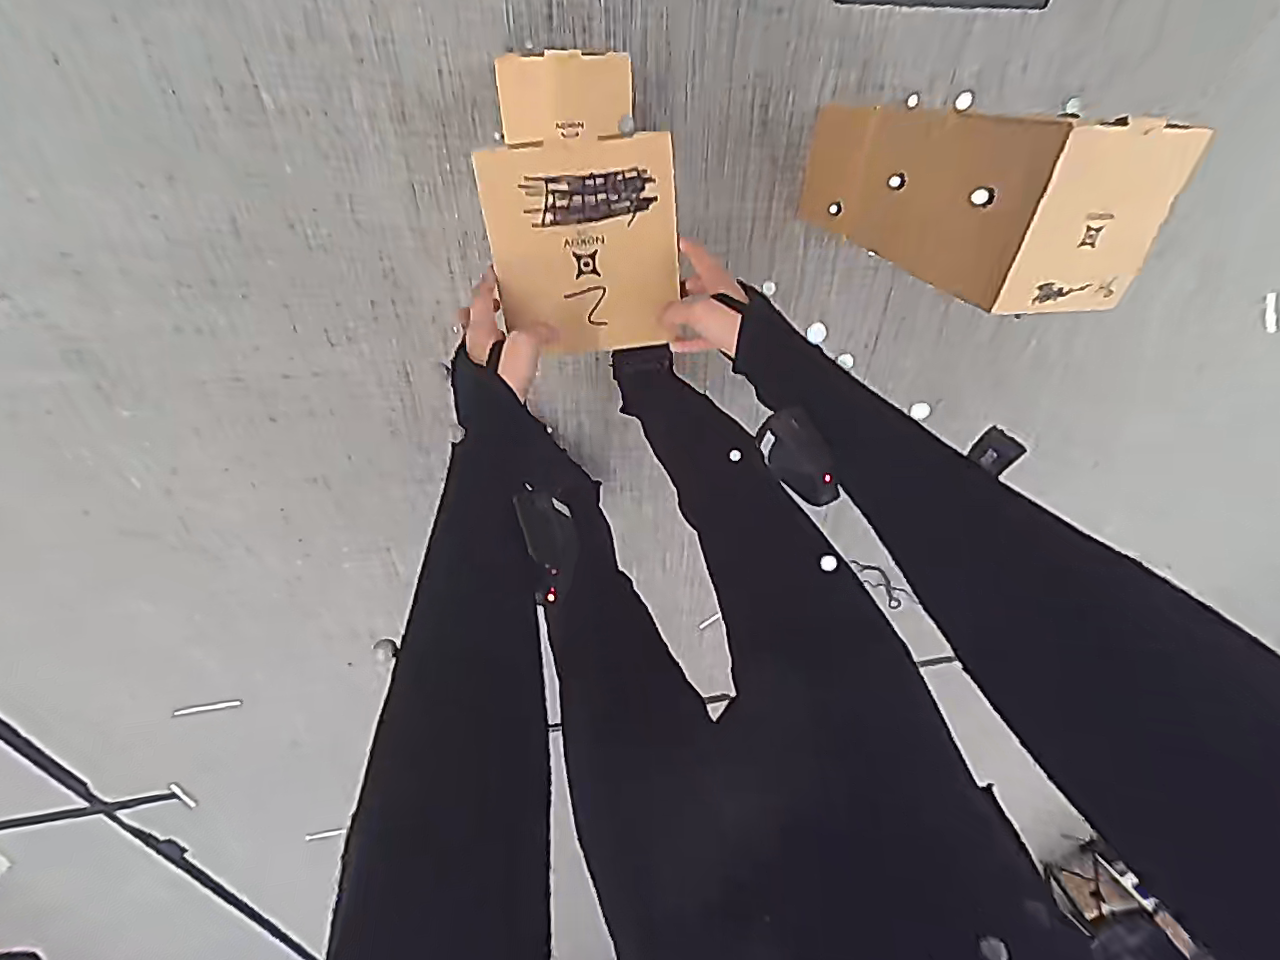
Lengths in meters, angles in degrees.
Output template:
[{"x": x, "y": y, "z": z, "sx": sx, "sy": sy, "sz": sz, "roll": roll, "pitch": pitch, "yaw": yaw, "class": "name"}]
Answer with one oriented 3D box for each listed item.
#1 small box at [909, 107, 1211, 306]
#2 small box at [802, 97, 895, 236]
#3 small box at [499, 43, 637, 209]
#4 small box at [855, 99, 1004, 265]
[{"x": 0.438, "y": -0.307, "z": 0.603, "sx": 0.168, "sy": 0.176, "sz": 0.179, "roll": -5, "pitch": 127, "yaw": -11, "class": "small box"}, {"x": 0.381, "y": -0.500, "z": 0.863, "sx": 0.168, "sy": 0.176, "sz": 0.179, "roll": -4, "pitch": 128, "yaw": -11, "class": "small box"}, {"x": -0.101, "y": -0.490, "z": 0.752, "sx": 0.168, "sy": 0.176, "sz": 0.179, "roll": -7, "pitch": 127, "yaw": -8, "class": "small box"}, {"x": 0.420, "y": -0.405, "z": 0.735, "sx": 0.168, "sy": 0.176, "sz": 0.179, "roll": -5, "pitch": 127, "yaw": -11, "class": "small box"}]
